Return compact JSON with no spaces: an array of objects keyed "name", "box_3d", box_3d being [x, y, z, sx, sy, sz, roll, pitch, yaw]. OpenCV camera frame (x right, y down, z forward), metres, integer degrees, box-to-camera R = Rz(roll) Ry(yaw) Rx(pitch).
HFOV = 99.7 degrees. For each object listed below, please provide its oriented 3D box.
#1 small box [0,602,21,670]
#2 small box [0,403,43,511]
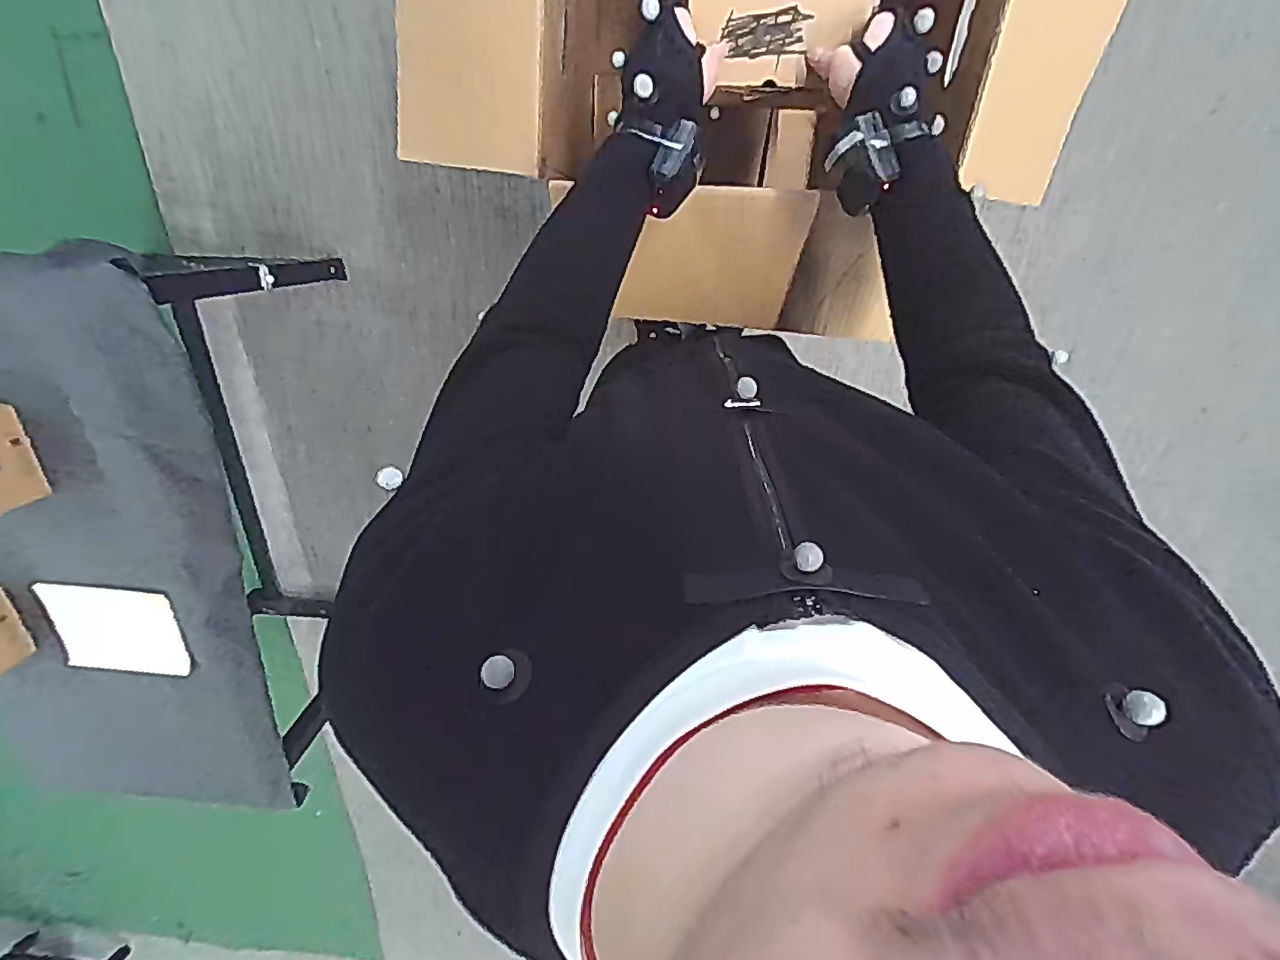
[{"name":"small box","box_3d":[-1.340,0.312,1.011,0.179,0.176,0.168,3,114,4]},{"name":"small box","box_3d":[-1.122,-0.027,0.854,0.179,0.176,0.168,3,115,2]}]
